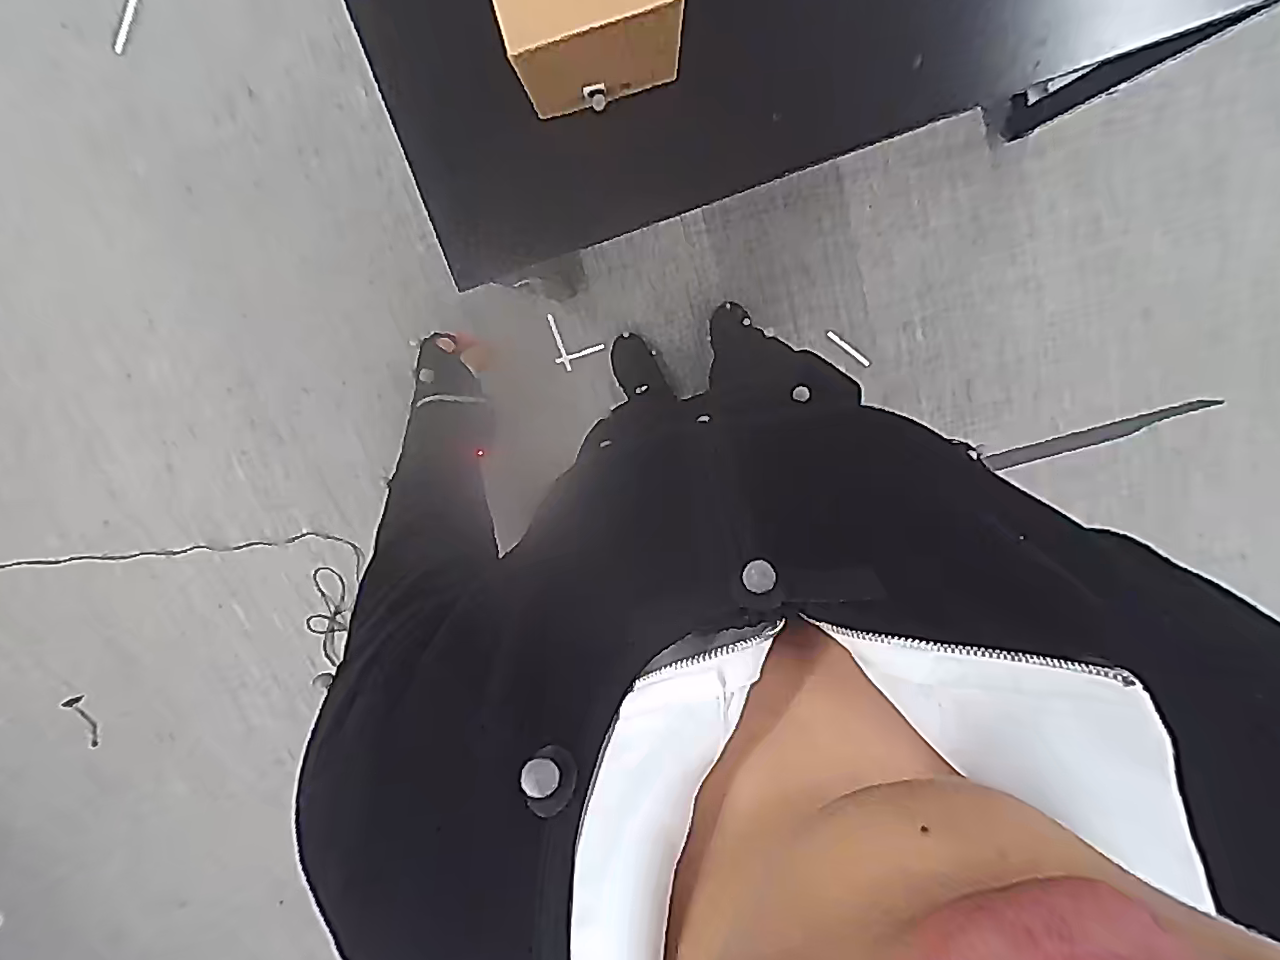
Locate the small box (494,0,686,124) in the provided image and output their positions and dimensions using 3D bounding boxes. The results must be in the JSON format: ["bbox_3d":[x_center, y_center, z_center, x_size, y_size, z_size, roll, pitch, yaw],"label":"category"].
[{"bbox_3d":[-0.058,-0.496,0.535,0.168,0.176,0.179,-15,106,6],"label":"small box"}]
